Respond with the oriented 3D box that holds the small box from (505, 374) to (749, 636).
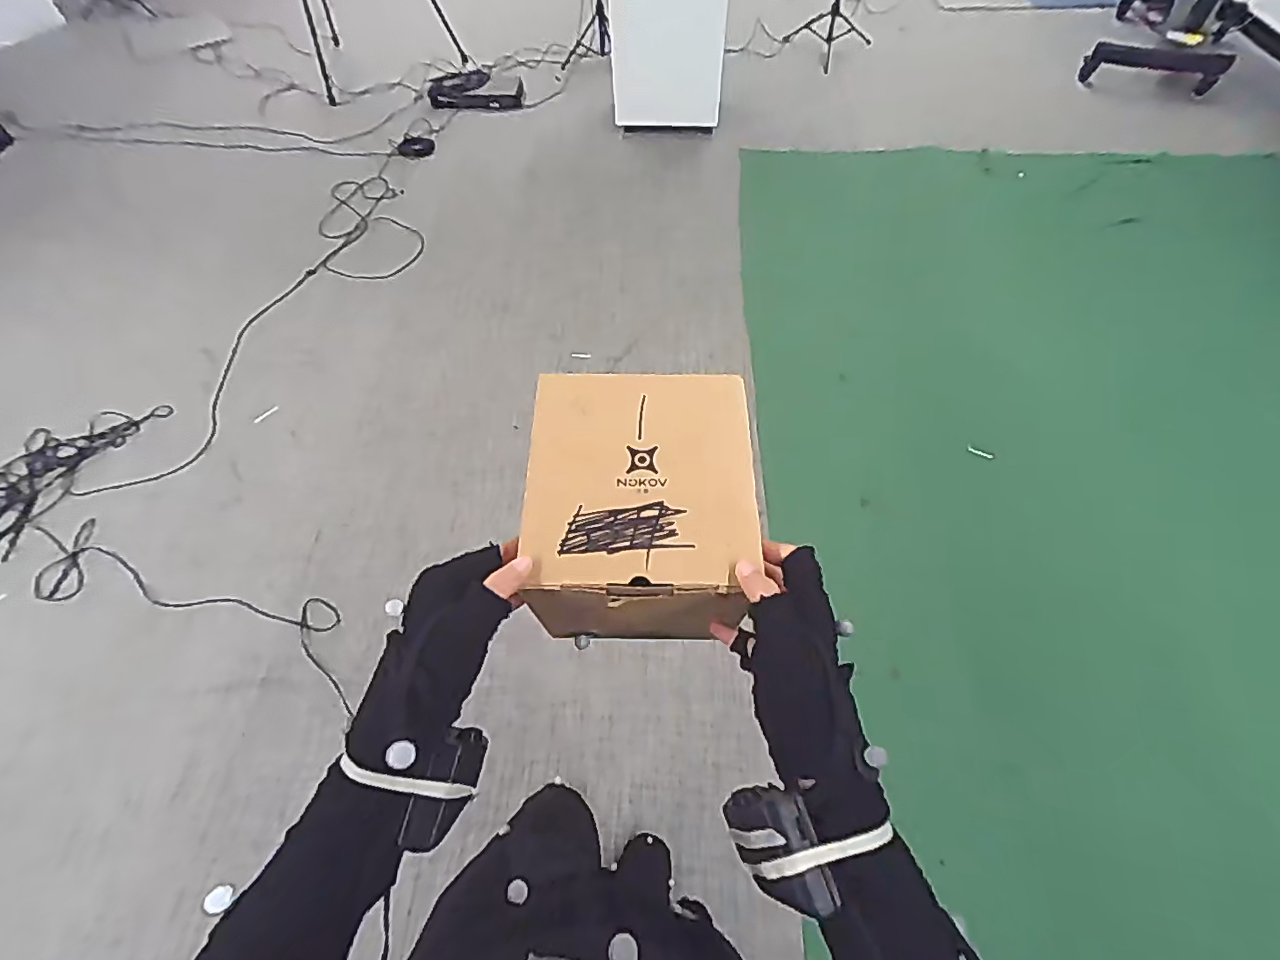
[{"bbox_3d":[-0.005,0.031,0.463,0.168,0.176,0.179,1,61,0],"label":"small box"}]
